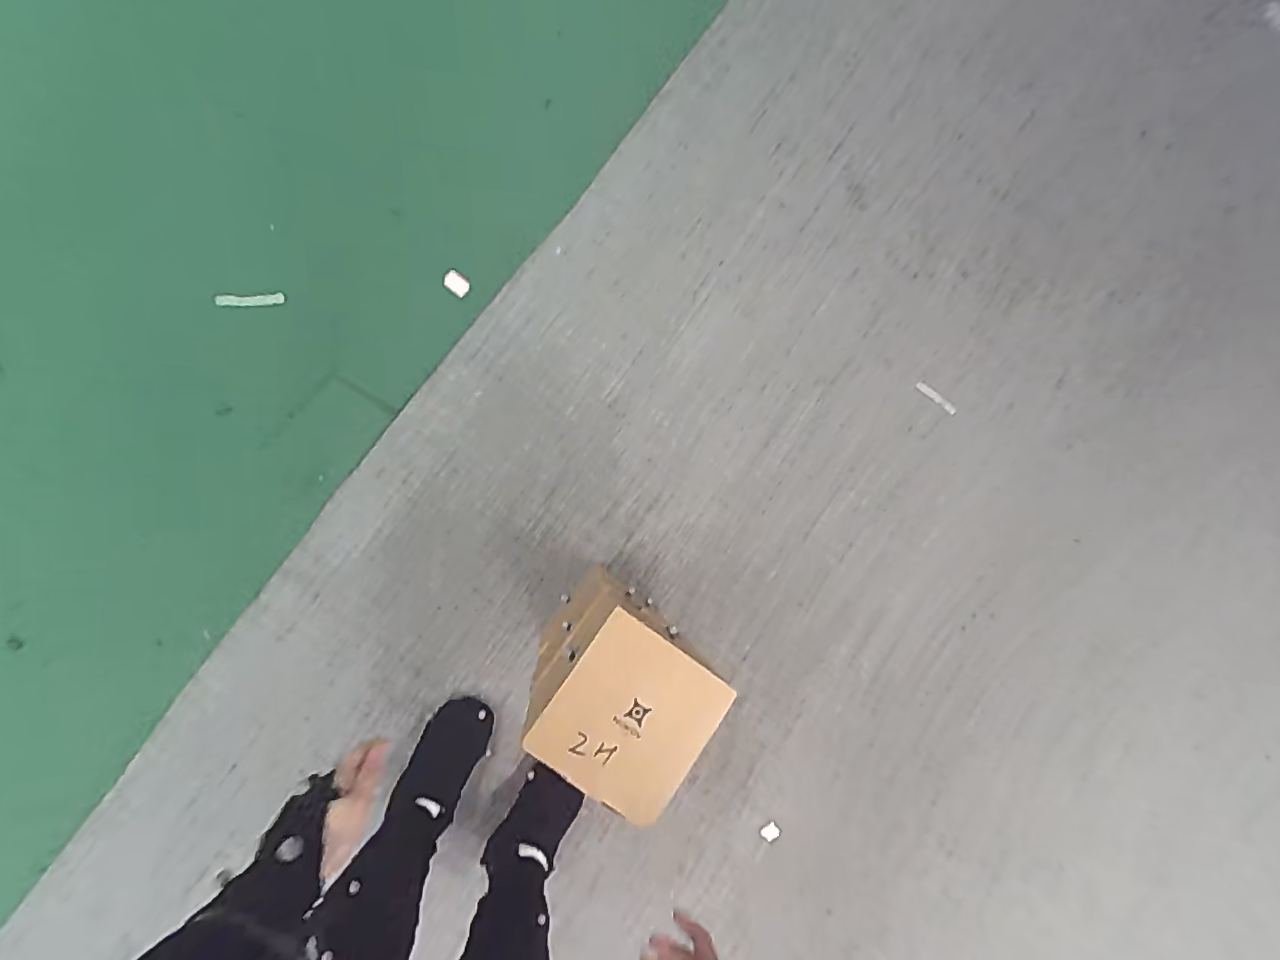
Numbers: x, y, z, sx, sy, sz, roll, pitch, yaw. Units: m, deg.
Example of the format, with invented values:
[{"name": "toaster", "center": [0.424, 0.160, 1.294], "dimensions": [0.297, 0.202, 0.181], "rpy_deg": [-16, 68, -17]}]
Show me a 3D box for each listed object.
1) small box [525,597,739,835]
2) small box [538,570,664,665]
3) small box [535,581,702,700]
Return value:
[{"name": "small box", "center": [-0.016, 0.258, 0.643], "dimensions": [0.168, 0.176, 0.179], "rpy_deg": [36, 81, -2]}, {"name": "small box", "center": [-0.059, 0.280, 0.967], "dimensions": [0.168, 0.176, 0.179], "rpy_deg": [39, 82, -3]}, {"name": "small box", "center": [-0.037, 0.269, 0.807], "dimensions": [0.168, 0.176, 0.179], "rpy_deg": [36, 83, -2]}]
